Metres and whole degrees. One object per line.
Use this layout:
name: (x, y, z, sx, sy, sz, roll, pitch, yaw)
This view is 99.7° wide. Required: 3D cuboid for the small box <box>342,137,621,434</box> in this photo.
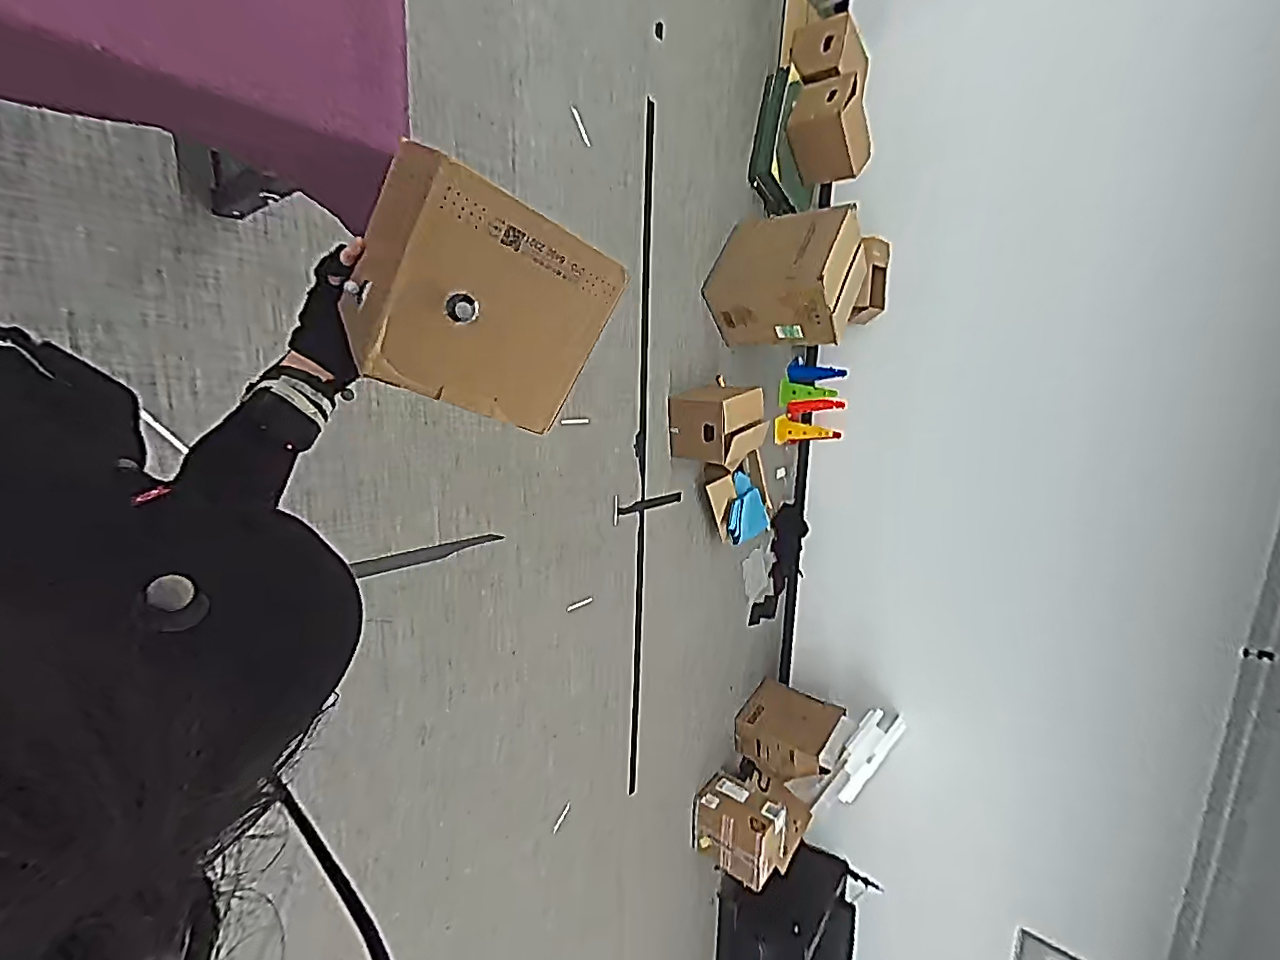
small box: (-0.140, -0.170, 0.478, 0.168, 0.179, 0.176, 18, 111, -41)
